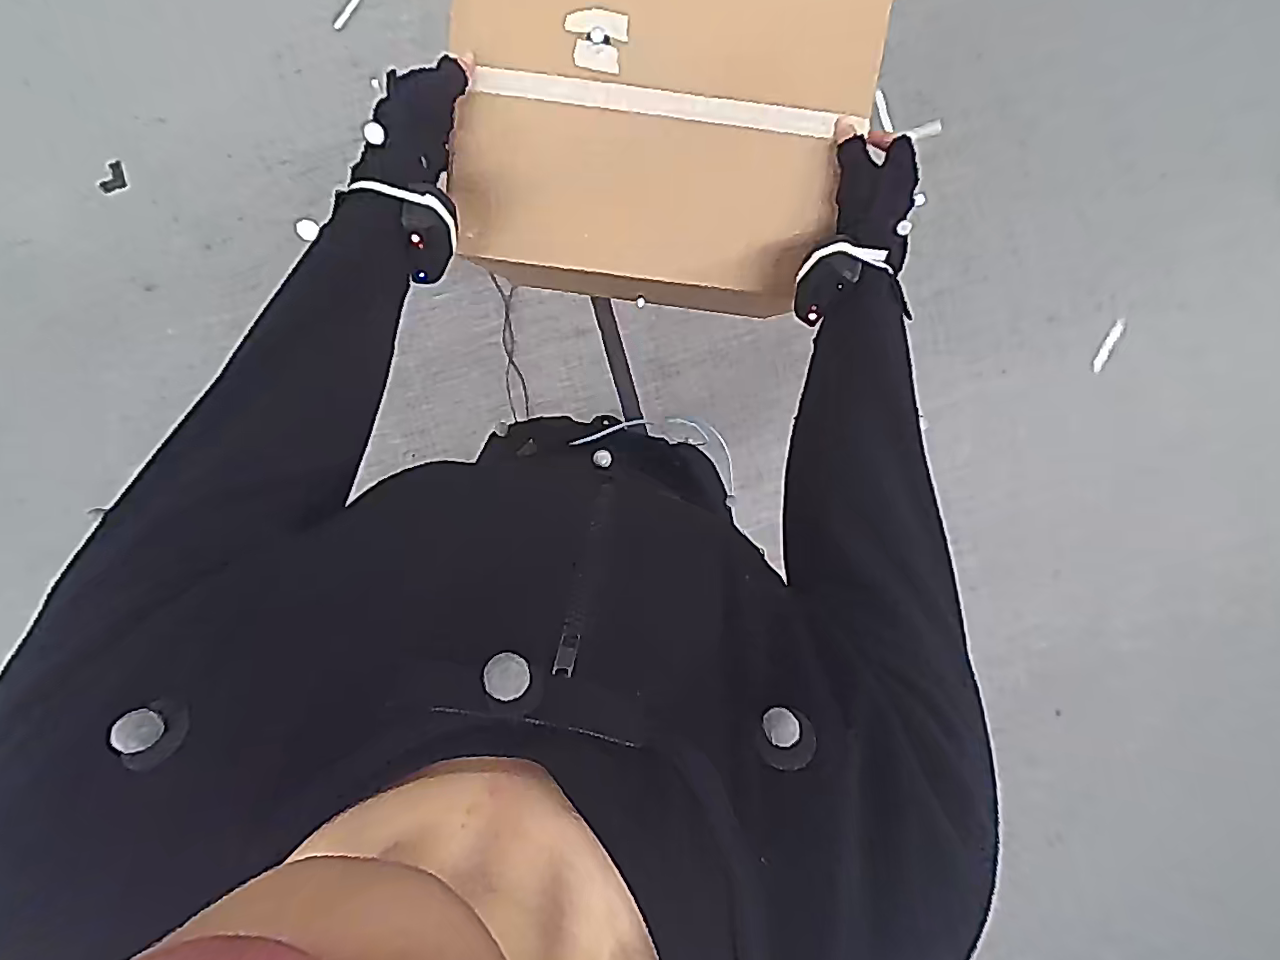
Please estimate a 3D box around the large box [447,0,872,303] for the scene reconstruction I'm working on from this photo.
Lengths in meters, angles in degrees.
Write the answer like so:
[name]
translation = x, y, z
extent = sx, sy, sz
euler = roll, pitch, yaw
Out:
[large box]
translation = 0.013, -0.403, 0.673
extent = 0.408, 0.320, 0.320
euler = 6, 103, -1
